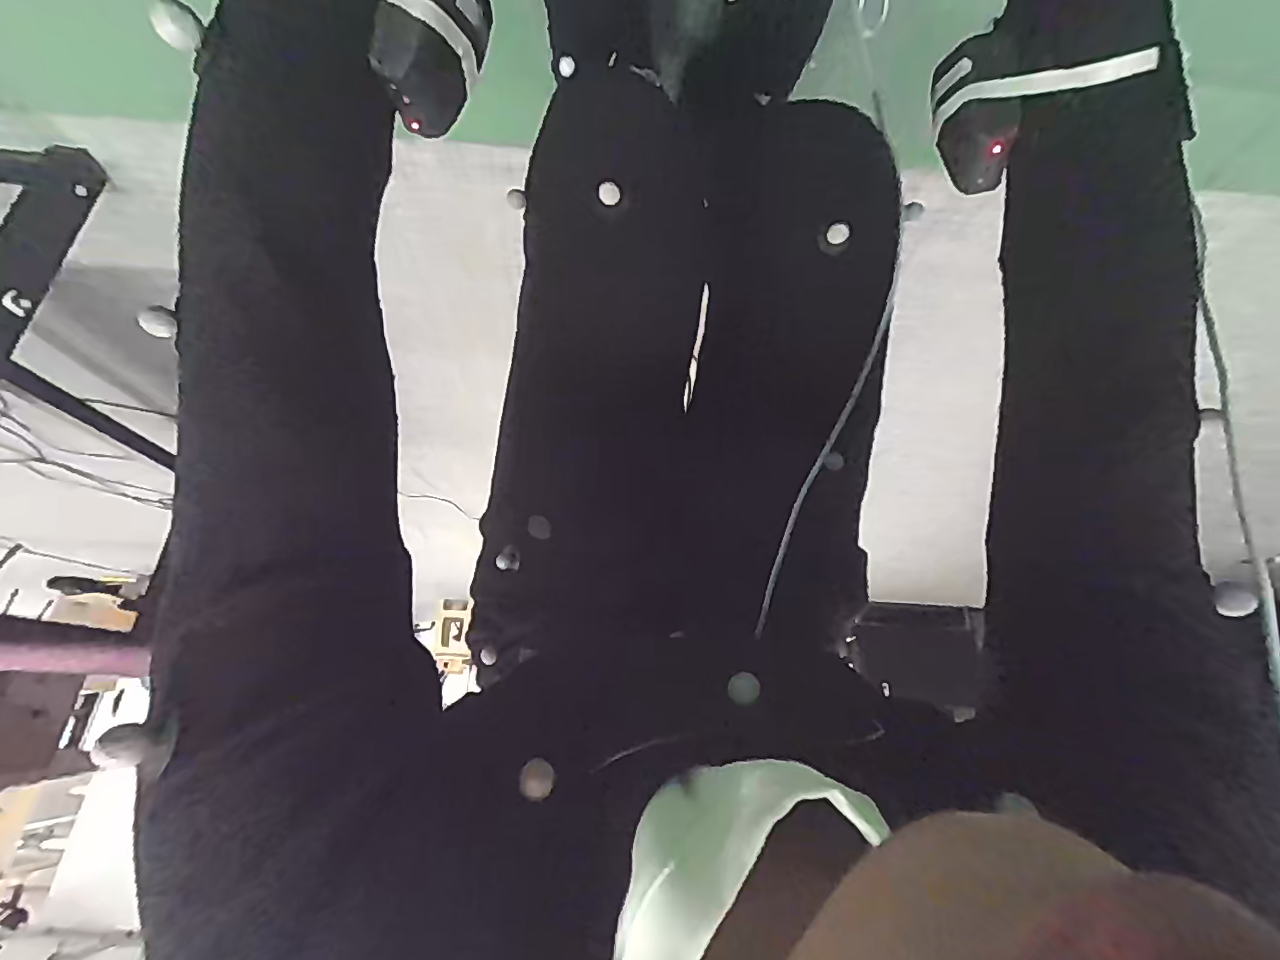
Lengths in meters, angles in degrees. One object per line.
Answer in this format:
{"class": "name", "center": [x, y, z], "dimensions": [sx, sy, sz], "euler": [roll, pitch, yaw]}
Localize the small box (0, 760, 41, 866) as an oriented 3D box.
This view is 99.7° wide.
{"class": "small box", "center": [-1.212, 0.577, 0.922], "dimensions": [0.179, 0.176, 0.168], "euler": [5, 159, -4]}
